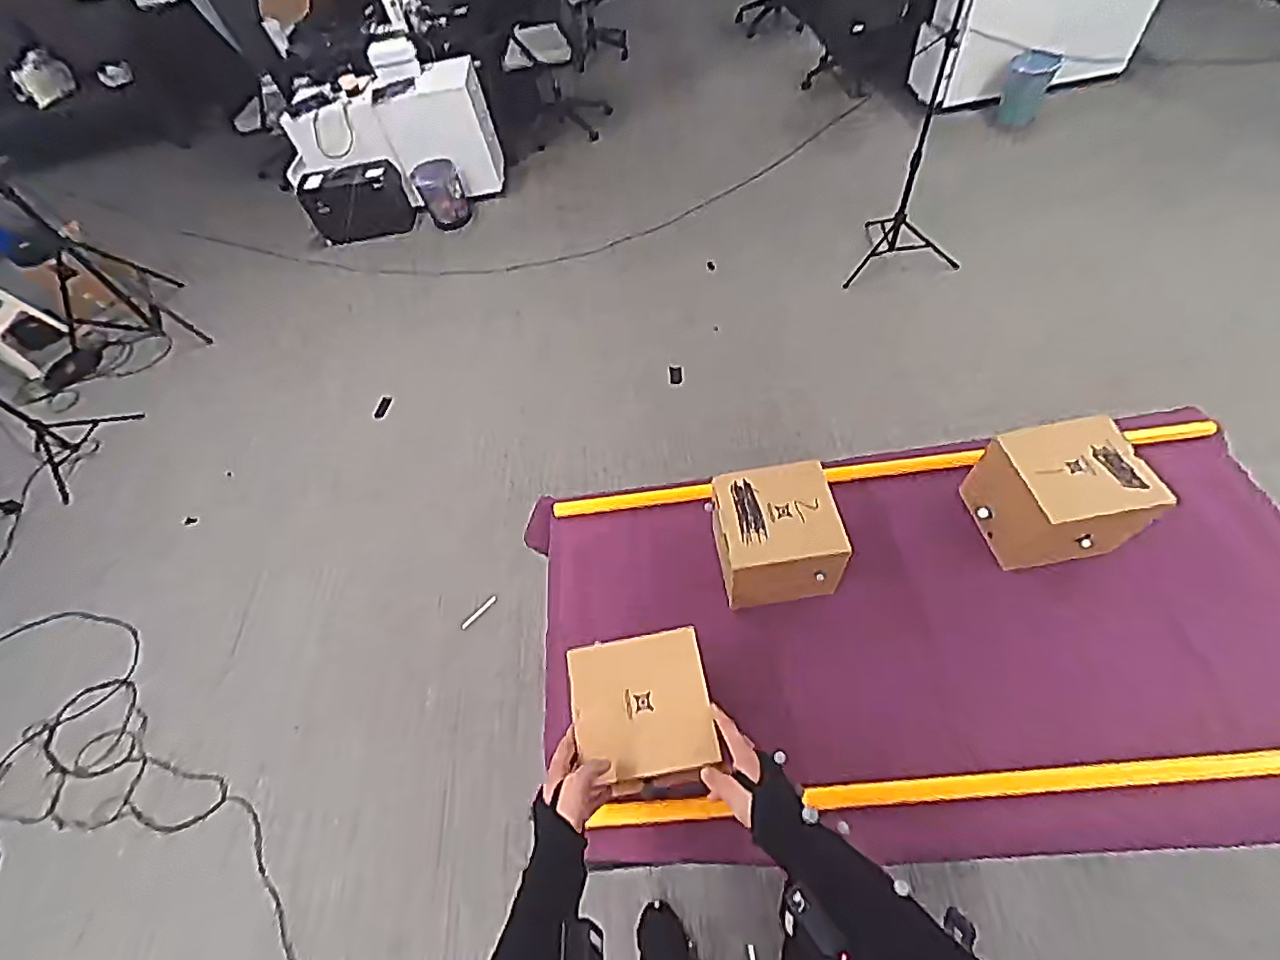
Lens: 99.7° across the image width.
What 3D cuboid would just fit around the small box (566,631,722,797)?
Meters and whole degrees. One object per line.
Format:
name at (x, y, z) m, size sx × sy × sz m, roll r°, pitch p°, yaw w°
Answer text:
small box at (0.008, 0.322, 0.736) m, size 0.179 × 0.176 × 0.168 m, roll -12°, pitch 56°, yaw 1°

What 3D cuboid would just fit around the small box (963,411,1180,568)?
small box at (0.654, 0.021, 0.850) m, size 0.179 × 0.176 × 0.168 m, roll -12°, pitch 56°, yaw 3°
